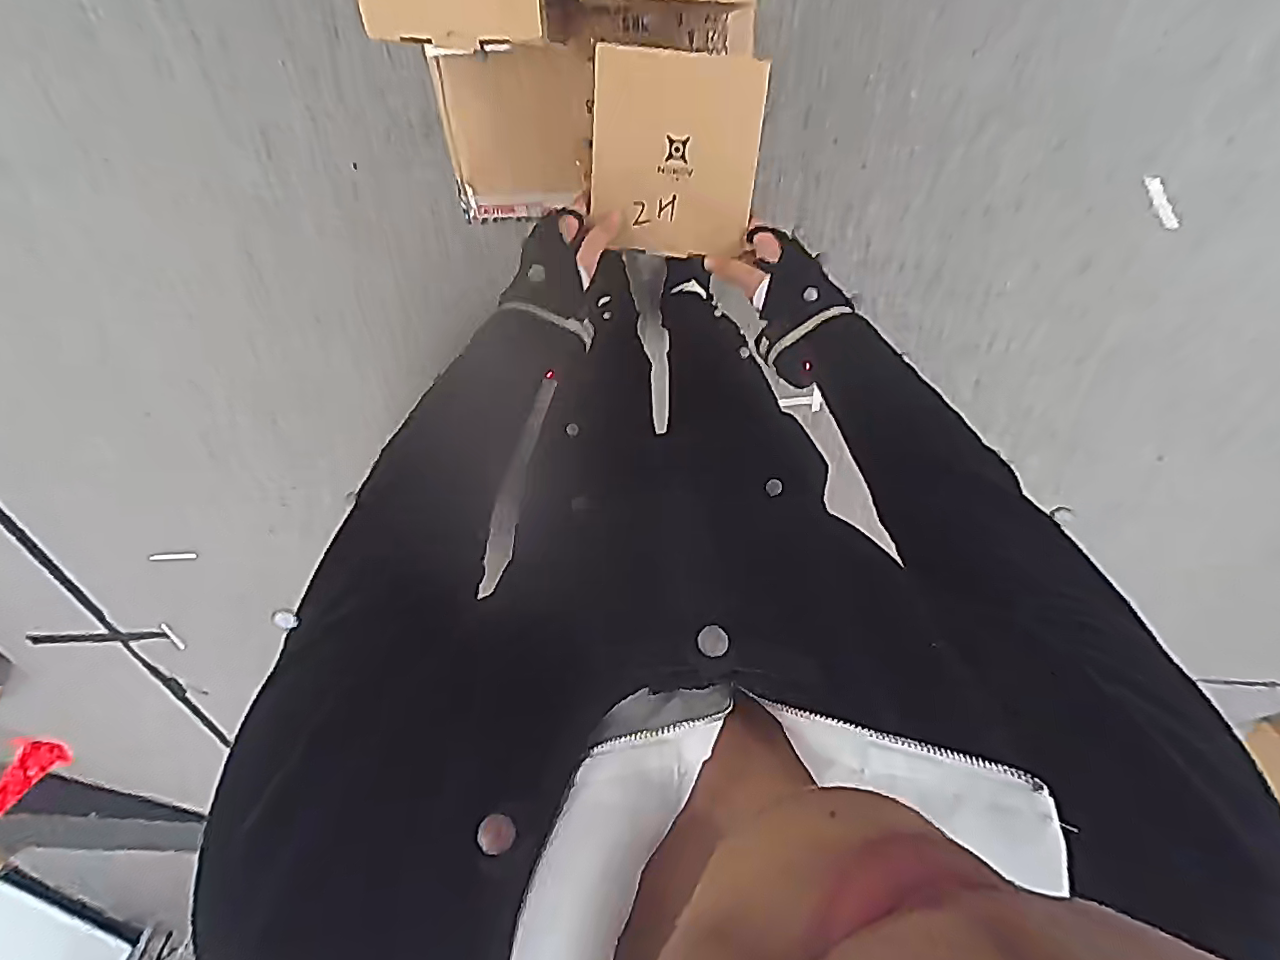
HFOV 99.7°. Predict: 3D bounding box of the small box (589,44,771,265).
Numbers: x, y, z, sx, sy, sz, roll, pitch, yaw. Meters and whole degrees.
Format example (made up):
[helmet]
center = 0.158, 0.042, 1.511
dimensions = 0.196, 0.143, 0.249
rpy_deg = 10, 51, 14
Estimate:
[small box]
center = 0.030, -0.341, 0.602
dimensions = 0.168, 0.176, 0.179
rpy_deg = 3, 113, -5
